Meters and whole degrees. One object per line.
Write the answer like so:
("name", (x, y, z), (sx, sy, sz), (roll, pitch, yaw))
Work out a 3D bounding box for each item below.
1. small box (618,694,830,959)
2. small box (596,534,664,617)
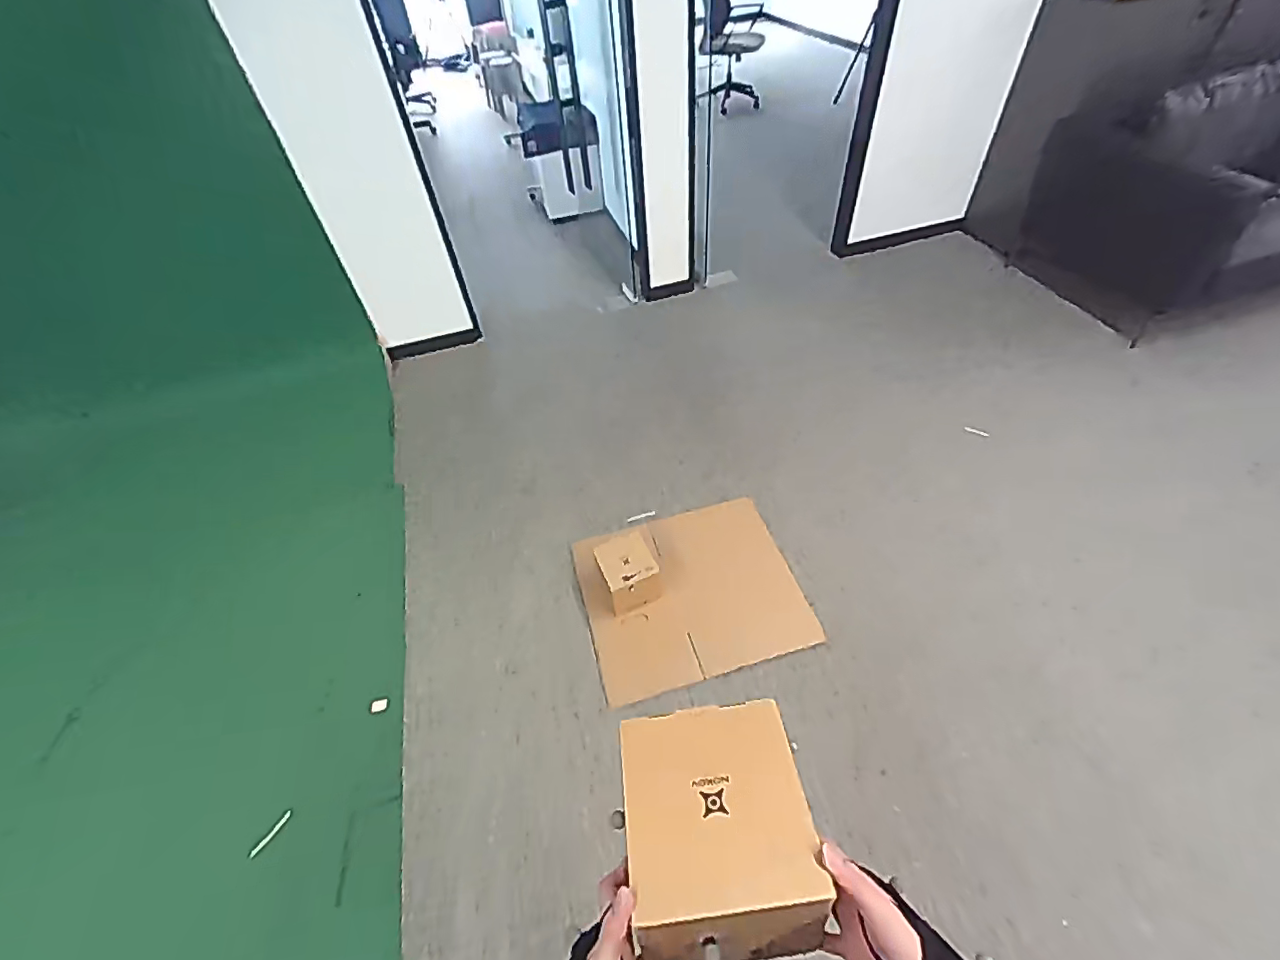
("small box", (0.075, 0.347, 0.538), (0.168, 0.176, 0.179), (-9, 36, 0))
("small box", (-0.032, 0.311, 1.756), (0.168, 0.176, 0.179), (-20, 49, -12))
